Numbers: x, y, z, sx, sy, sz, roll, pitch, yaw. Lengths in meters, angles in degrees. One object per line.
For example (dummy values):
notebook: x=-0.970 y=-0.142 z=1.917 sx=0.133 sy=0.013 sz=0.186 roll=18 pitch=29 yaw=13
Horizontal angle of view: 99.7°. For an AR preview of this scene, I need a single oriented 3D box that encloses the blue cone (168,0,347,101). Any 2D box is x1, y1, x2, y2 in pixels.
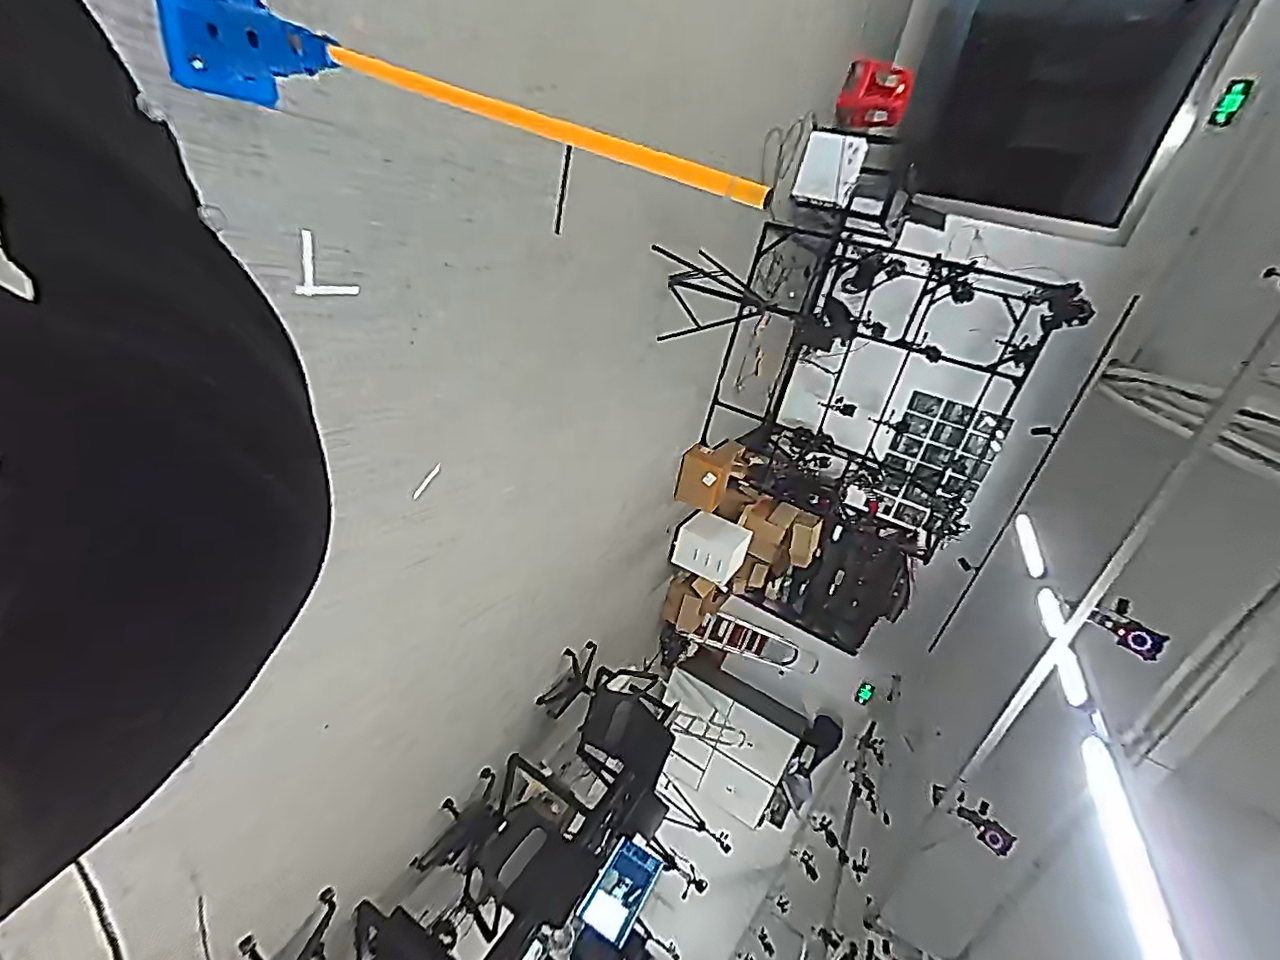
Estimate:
blue cone: x=-0.686 y=-0.823 z=1.020 sx=0.193 sy=0.380 sz=0.192 roll=-32 pitch=140 yaw=-55
